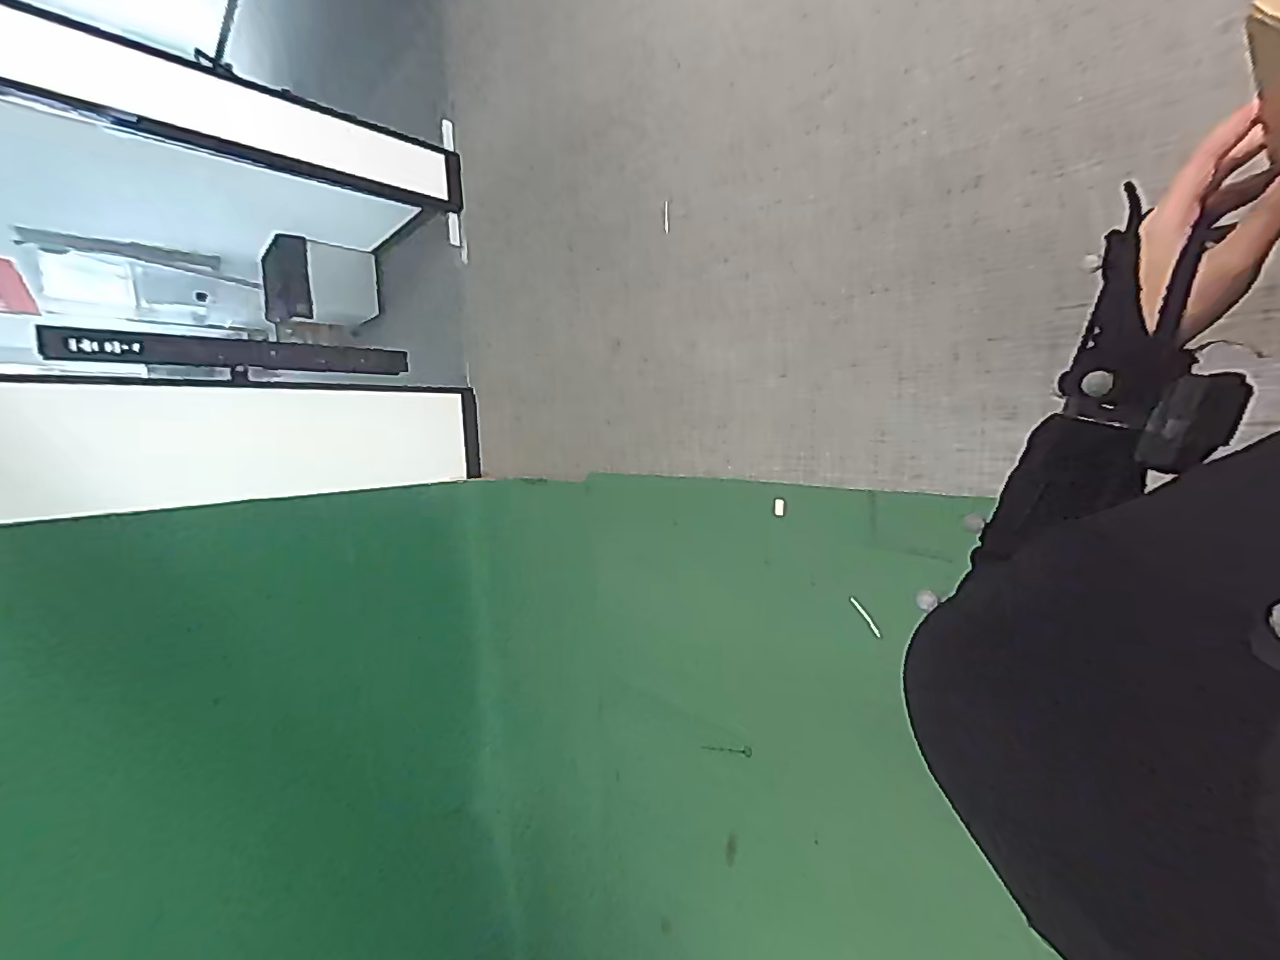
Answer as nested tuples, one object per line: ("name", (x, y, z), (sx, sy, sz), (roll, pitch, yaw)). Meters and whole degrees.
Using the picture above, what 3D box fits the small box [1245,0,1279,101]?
("small box", (0.395, -0.184, 0.190), (0.179, 0.176, 0.168), (-48, 53, 40))
